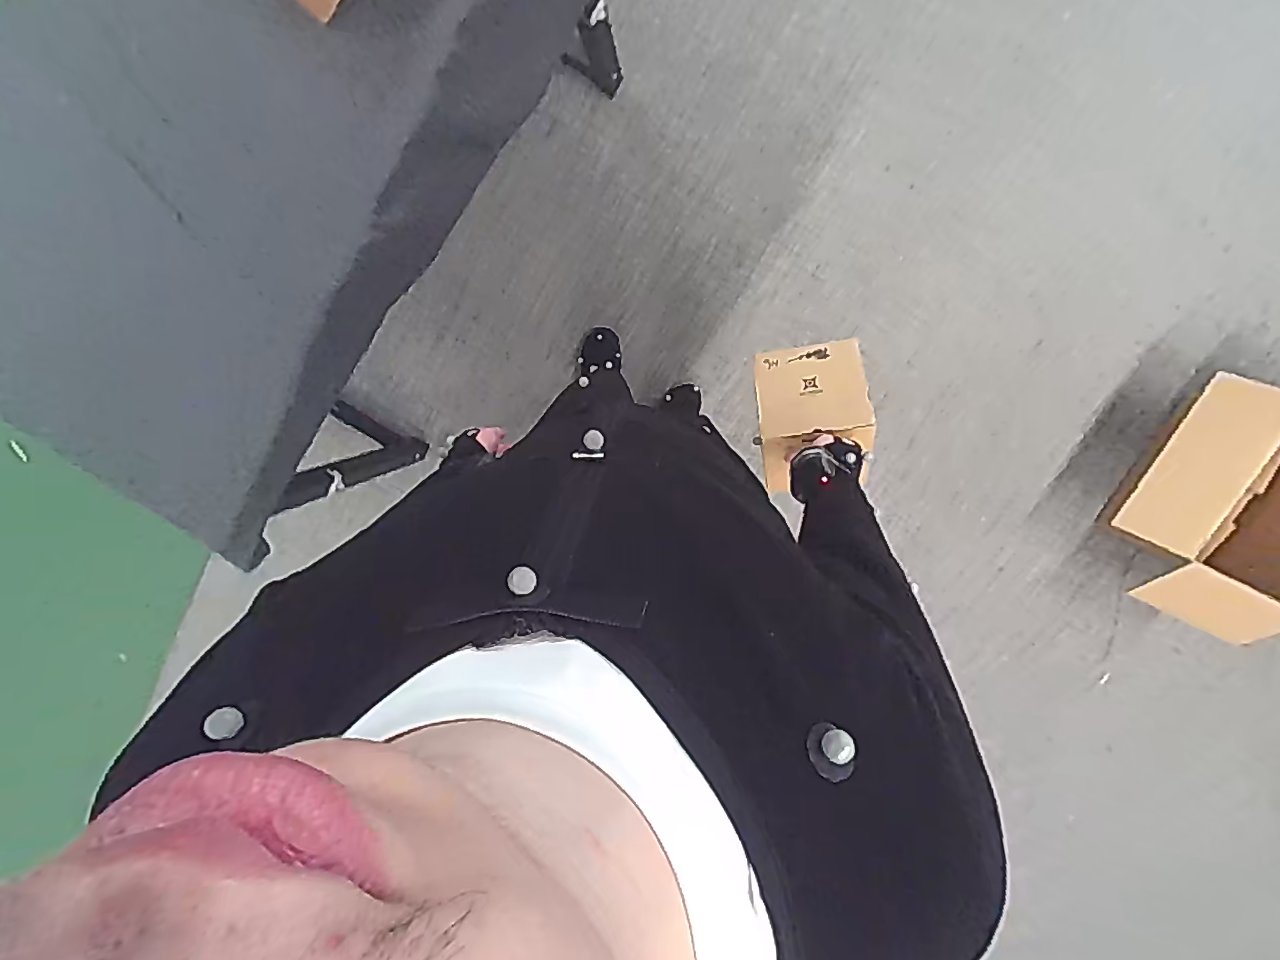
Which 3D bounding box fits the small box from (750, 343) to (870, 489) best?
[{"bbox_3d":[0.275,-0.095,0.894,0.168,0.176,0.179,-5,59,14],"label":"small box"}]
